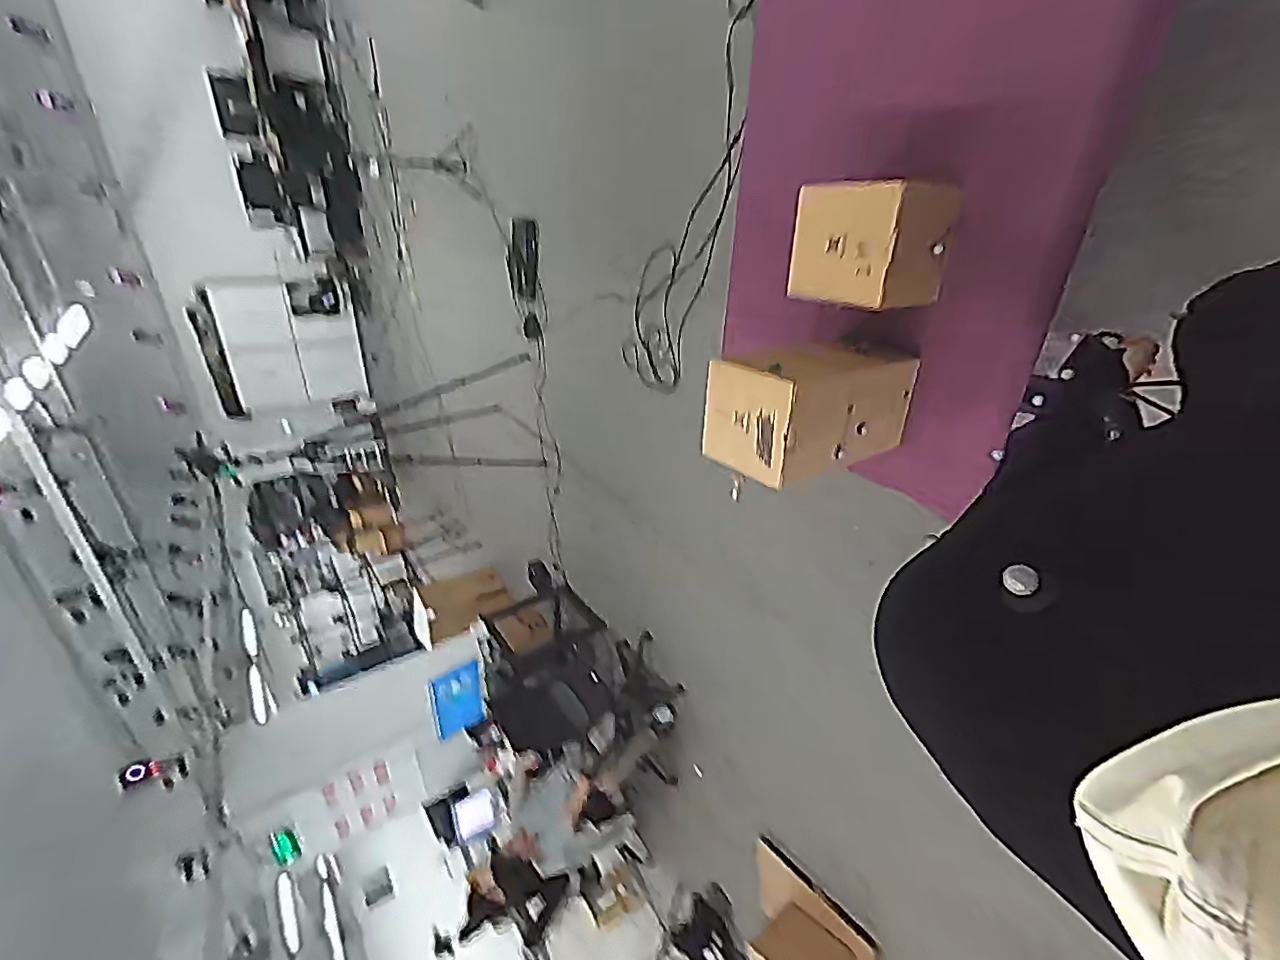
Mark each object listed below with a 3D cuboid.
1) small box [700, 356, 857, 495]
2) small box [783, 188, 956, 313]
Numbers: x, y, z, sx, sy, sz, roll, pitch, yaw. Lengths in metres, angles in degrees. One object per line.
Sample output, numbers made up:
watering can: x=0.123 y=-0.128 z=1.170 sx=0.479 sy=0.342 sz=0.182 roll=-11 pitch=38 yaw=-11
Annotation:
small box: x=0.221 y=-0.099 z=0.876 sx=0.179 sy=0.176 sz=0.168 roll=31 pitch=128 yaw=47
small box: x=0.359 y=-0.365 z=0.860 sx=0.179 sy=0.176 sz=0.168 roll=30 pitch=128 yaw=46
